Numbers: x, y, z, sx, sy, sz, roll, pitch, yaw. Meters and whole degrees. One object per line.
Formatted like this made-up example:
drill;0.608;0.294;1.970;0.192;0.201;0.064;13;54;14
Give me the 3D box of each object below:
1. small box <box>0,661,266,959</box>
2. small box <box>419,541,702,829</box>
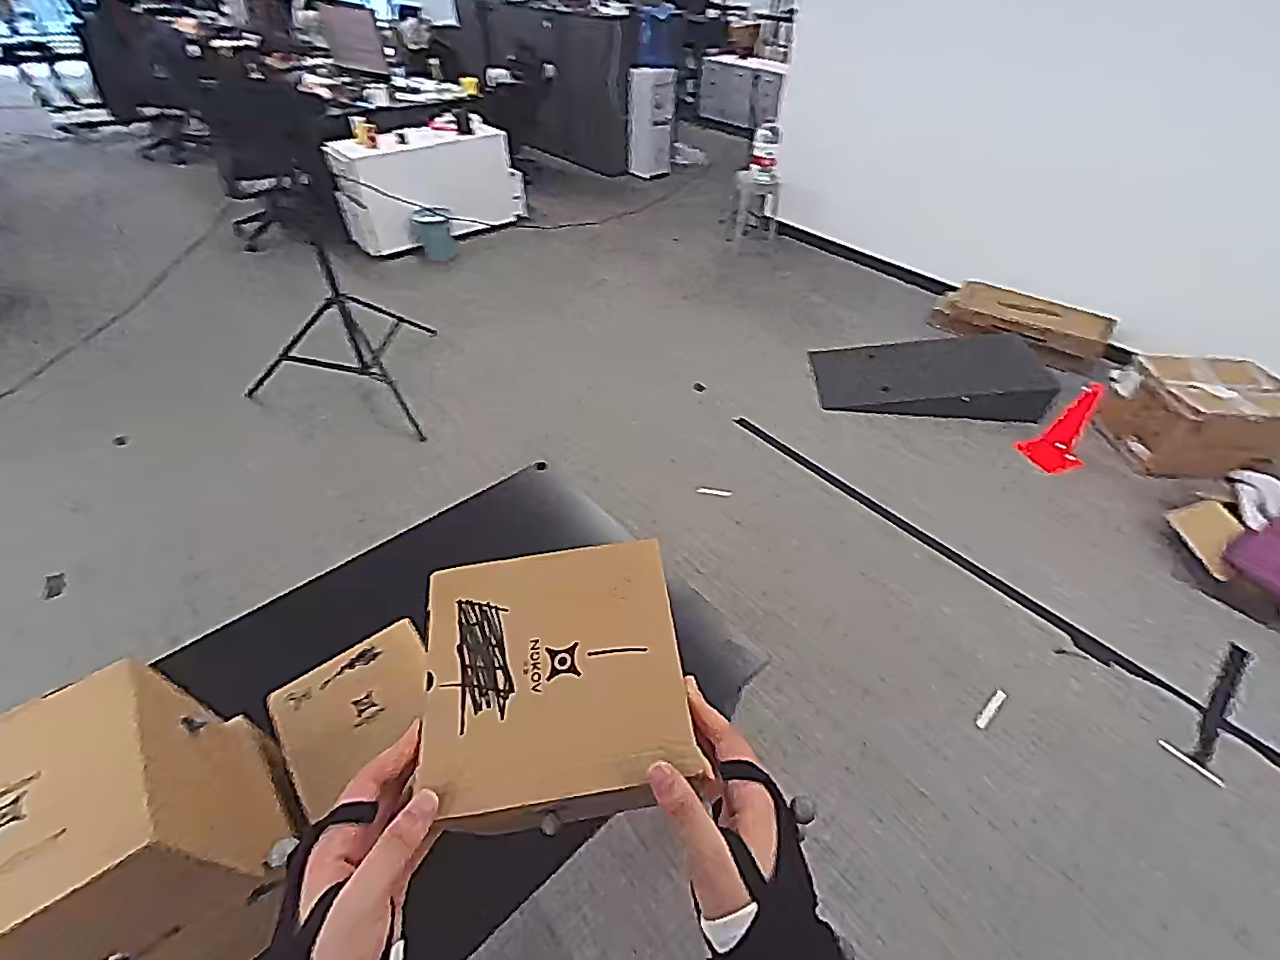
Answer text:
small box;-0.450;0.294;0.444;0.168;0.176;0.179;-30;54;-26
small box;-0.052;0.170;0.434;0.179;0.176;0.168;-8;55;-3
